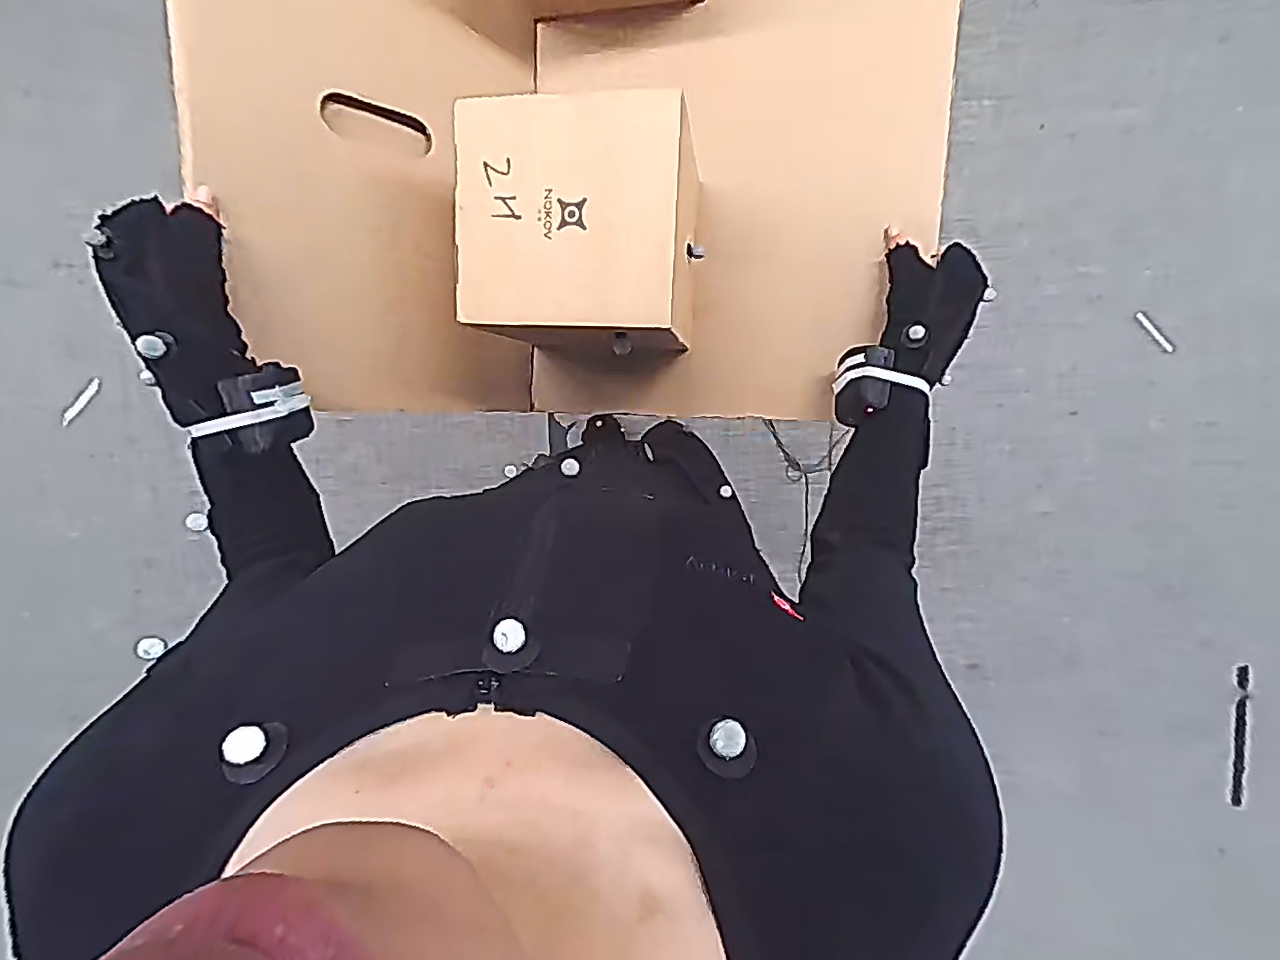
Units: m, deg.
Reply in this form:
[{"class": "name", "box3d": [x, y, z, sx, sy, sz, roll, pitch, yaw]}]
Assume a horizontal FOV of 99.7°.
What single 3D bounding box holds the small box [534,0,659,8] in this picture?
[{"class": "small box", "box3d": [-0.036, -0.537, 0.444, 0.179, 0.176, 0.168, 2, 99, 9]}]
